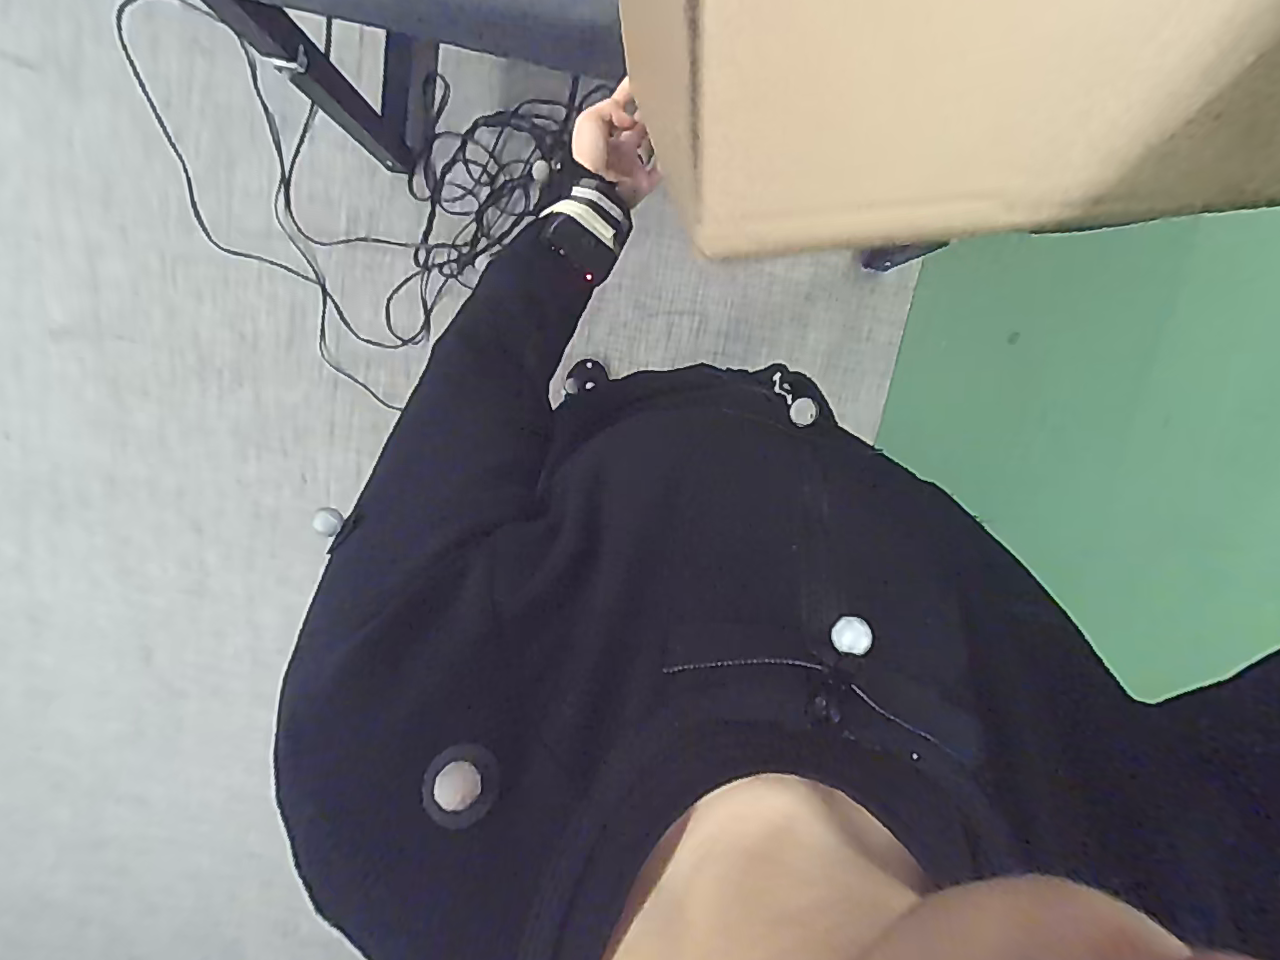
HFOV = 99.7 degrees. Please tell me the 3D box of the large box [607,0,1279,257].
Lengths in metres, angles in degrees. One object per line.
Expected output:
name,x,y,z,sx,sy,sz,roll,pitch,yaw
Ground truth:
large box,0.141,-0.353,0.247,0.320,0.408,0.320,-8,136,-1
